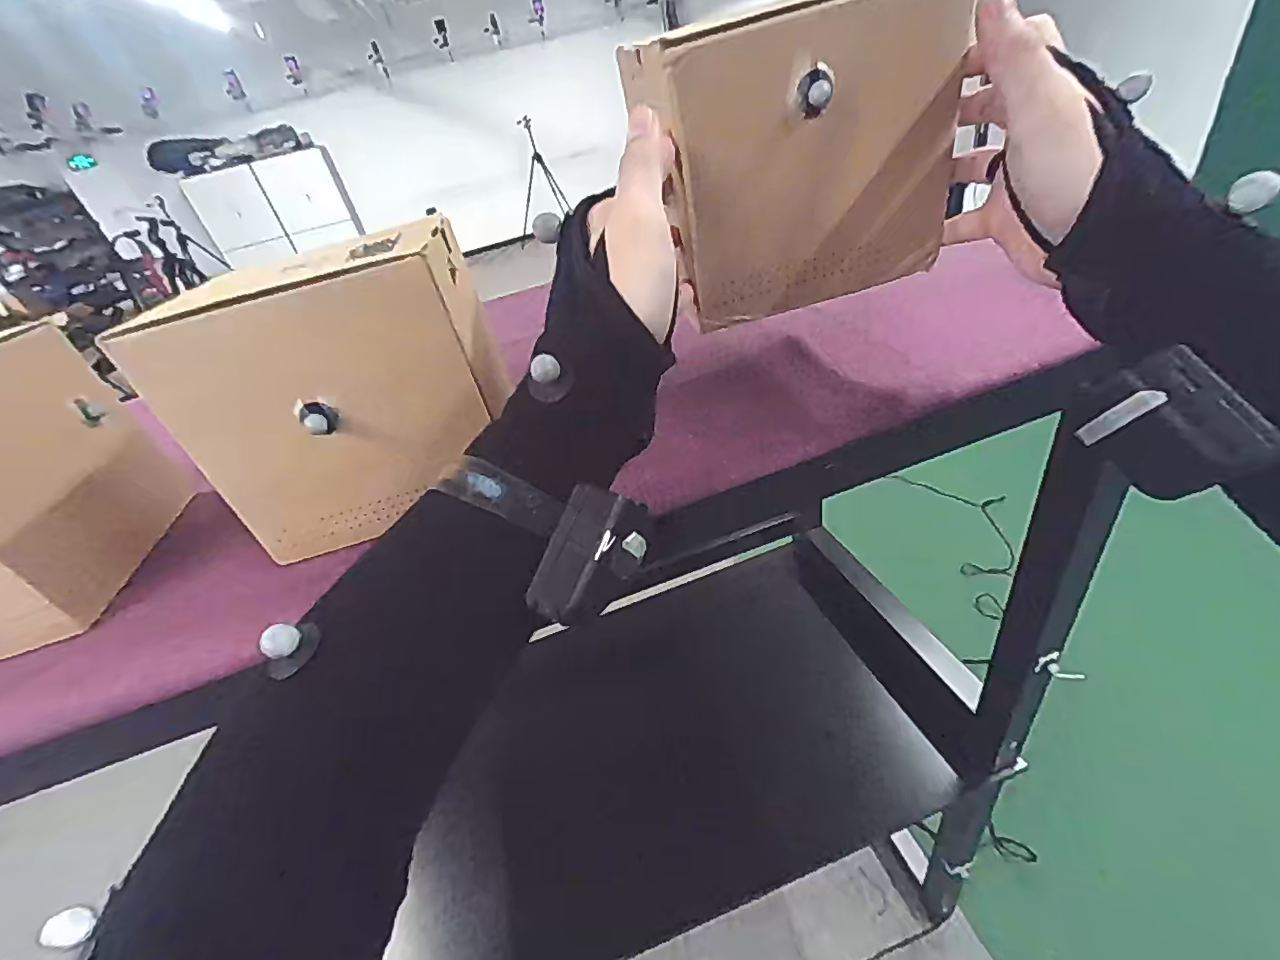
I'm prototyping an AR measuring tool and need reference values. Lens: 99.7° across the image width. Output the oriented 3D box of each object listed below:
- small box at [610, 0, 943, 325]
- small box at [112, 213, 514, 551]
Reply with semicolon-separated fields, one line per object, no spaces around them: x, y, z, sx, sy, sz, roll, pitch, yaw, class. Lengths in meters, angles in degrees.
0.089;-0.234;0.397;0.179;0.176;0.168;-15;39;0;small box
-0.201;-0.077;0.404;0.179;0.176;0.168;-18;35;-2;small box
